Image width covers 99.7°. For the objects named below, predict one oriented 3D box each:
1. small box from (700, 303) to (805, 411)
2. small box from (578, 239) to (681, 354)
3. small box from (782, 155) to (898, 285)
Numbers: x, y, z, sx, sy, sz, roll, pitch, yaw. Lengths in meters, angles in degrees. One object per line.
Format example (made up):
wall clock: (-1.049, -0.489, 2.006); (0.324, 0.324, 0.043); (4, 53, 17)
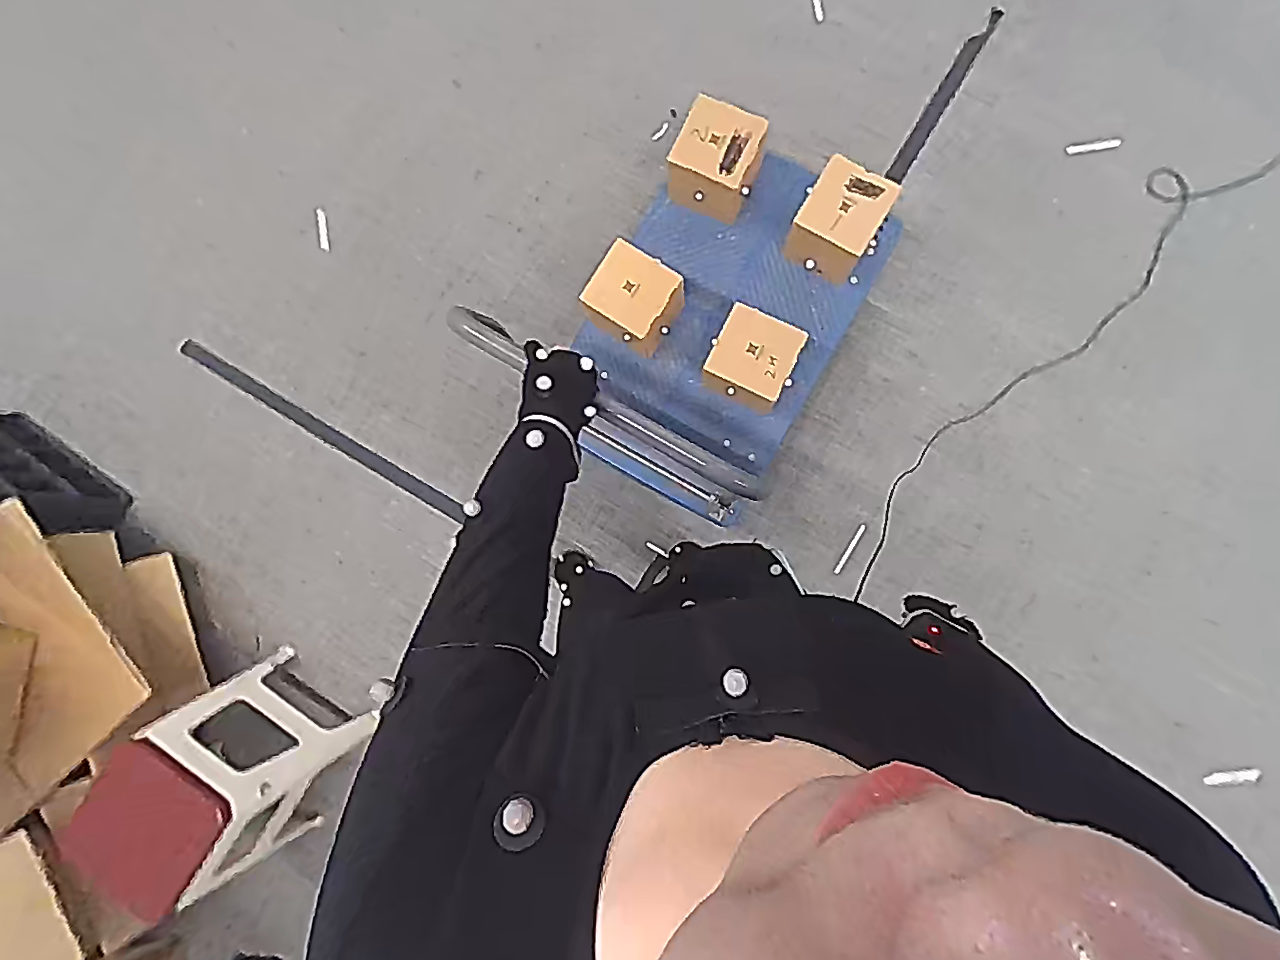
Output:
small box: (0.249, -0.273, 1.245); (0.179, 0.176, 0.168); (27, 91, 6)
small box: (-0.021, -0.422, 1.277); (0.179, 0.176, 0.168); (33, 90, 3)
small box: (0.446, -0.586, 1.240); (0.168, 0.176, 0.179); (32, 92, 6)
